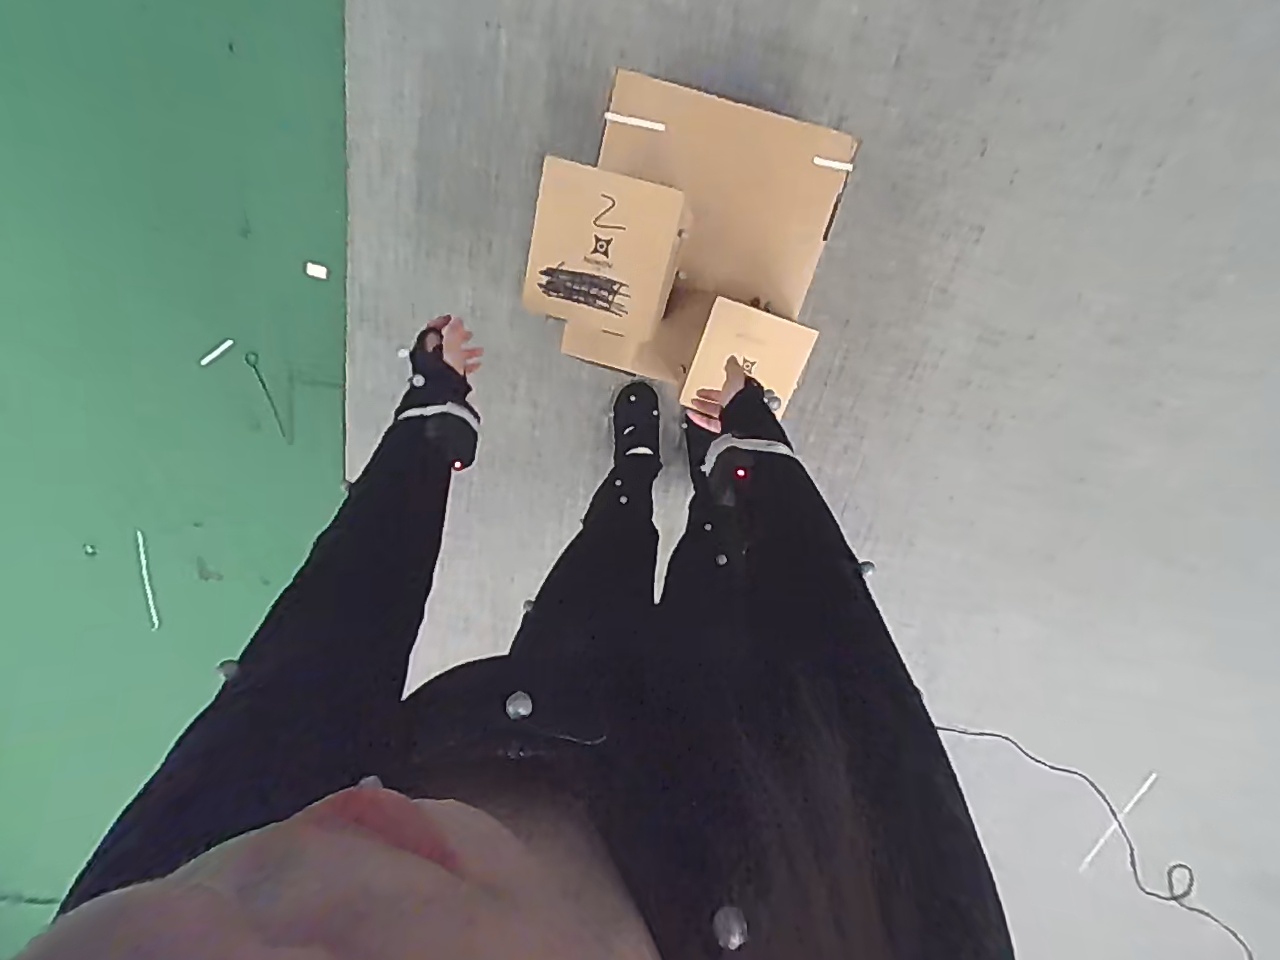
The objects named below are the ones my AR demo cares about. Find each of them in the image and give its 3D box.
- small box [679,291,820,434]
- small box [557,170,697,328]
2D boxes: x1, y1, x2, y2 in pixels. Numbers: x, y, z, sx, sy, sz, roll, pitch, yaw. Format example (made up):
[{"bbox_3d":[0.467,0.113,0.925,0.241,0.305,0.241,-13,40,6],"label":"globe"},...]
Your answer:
[{"bbox_3d":[0.171,-0.203,0.903,0.168,0.176,0.179,19,111,-4],"label":"small box"},{"bbox_3d":[-0.017,-0.358,0.859,0.168,0.176,0.179,19,111,-1],"label":"small box"}]
